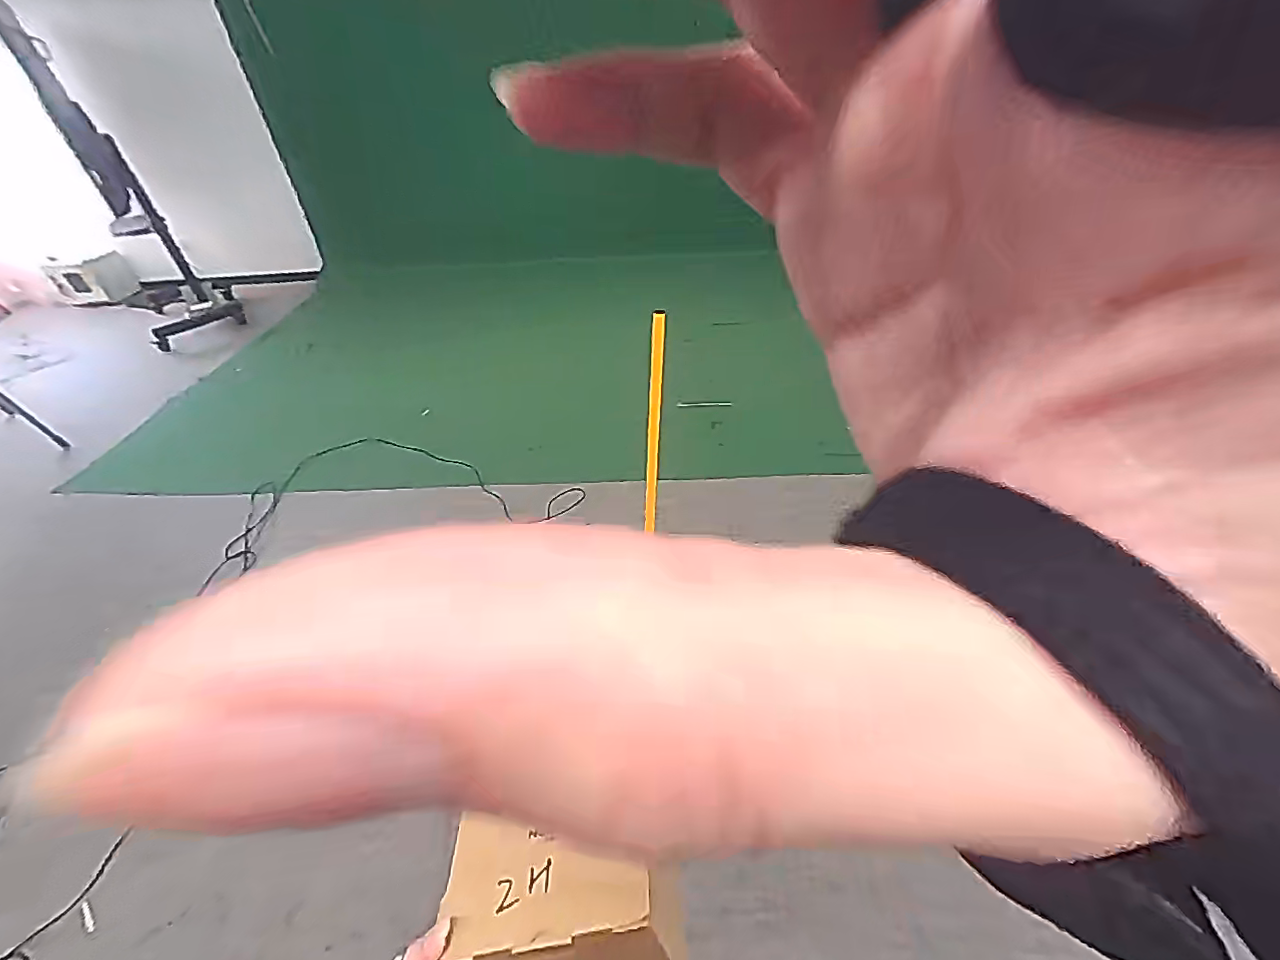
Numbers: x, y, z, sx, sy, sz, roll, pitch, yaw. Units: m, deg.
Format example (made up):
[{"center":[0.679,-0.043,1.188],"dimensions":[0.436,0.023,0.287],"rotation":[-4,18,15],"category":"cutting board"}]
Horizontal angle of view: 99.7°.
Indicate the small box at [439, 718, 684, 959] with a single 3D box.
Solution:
[{"center":[-0.059,0.363,0.508],"dimensions":[0.168,0.176,0.179],"rotation":[-13,31,4],"category":"small box"}]
